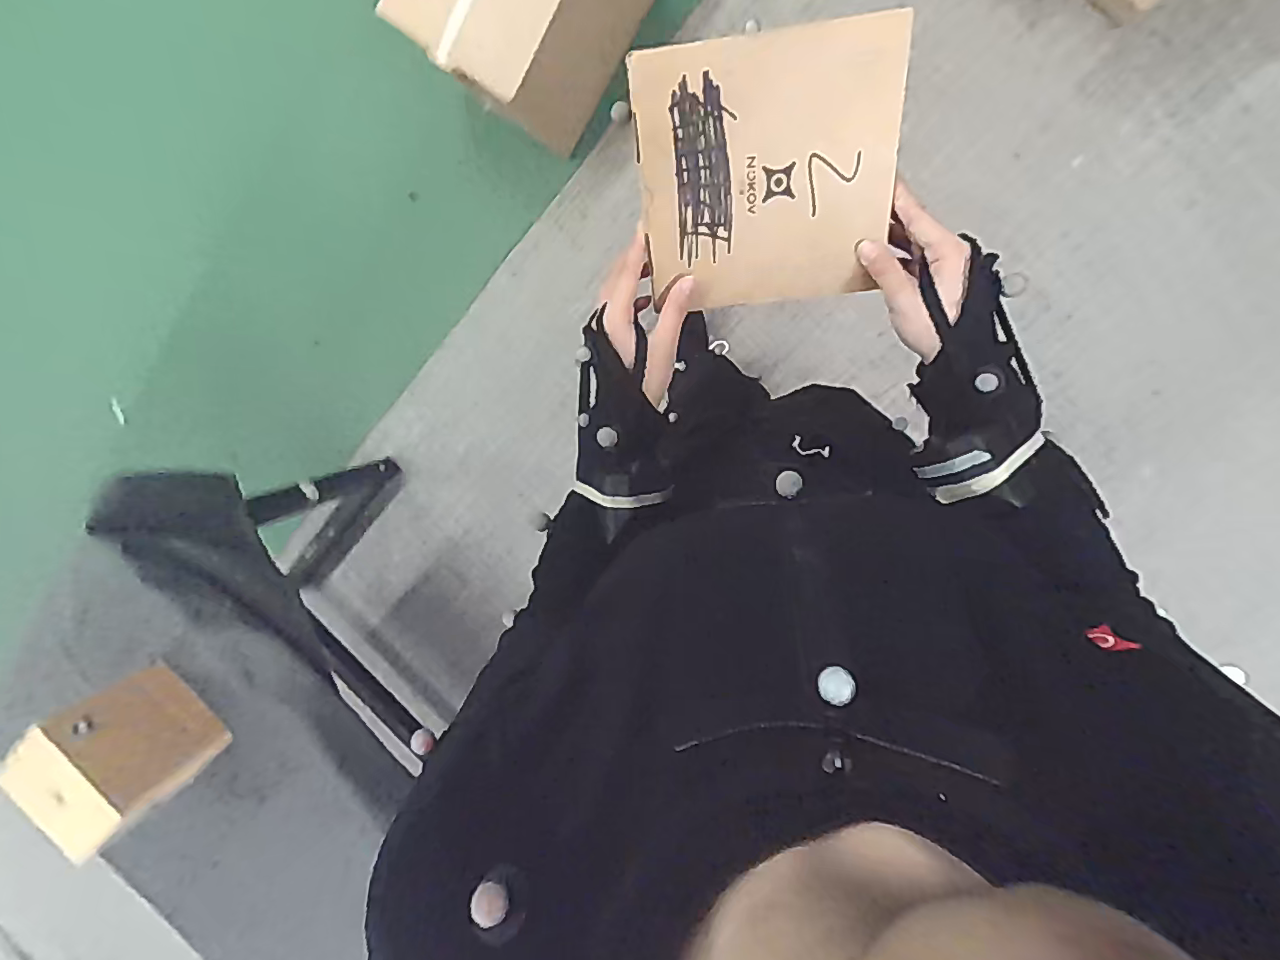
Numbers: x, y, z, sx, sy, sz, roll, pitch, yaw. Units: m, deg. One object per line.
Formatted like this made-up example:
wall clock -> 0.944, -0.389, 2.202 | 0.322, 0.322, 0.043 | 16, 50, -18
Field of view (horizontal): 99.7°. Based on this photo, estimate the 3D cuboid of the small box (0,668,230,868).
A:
small box -> -0.786, 0.428, 0.825 | 0.168, 0.176, 0.179 | -42, 91, 19
